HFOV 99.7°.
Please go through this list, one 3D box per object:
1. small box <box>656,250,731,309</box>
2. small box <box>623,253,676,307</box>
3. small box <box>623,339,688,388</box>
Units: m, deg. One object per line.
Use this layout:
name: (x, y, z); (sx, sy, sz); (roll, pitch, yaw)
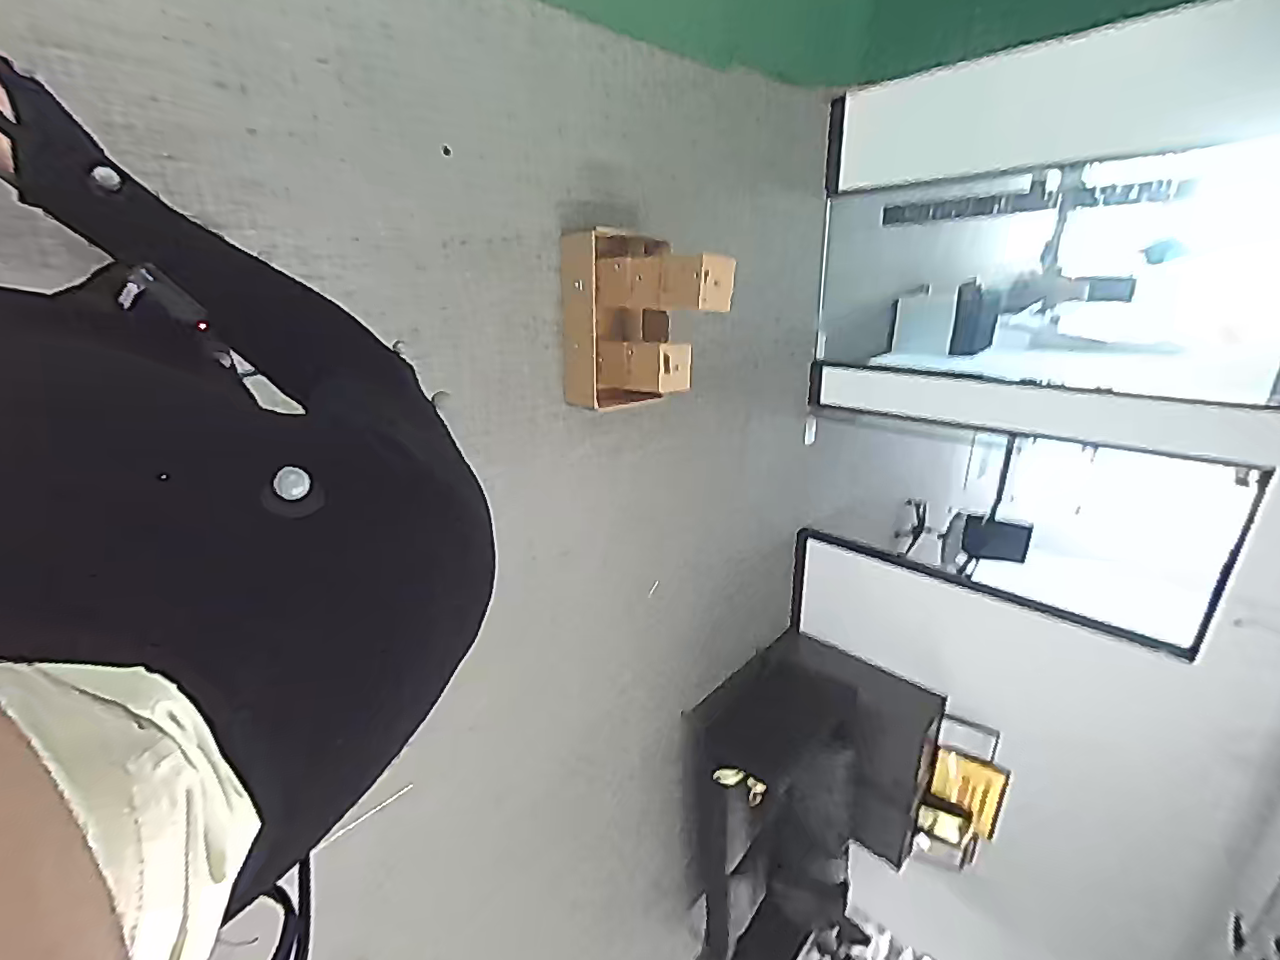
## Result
small box: (0.174, -0.654, 1.770); (0.179, 0.176, 0.168); (-15, 115, -46)
small box: (0.062, -0.695, 1.883); (0.179, 0.176, 0.168); (-17, 117, -44)
small box: (0.053, -0.426, 1.967); (0.179, 0.176, 0.168); (-15, 113, -46)
